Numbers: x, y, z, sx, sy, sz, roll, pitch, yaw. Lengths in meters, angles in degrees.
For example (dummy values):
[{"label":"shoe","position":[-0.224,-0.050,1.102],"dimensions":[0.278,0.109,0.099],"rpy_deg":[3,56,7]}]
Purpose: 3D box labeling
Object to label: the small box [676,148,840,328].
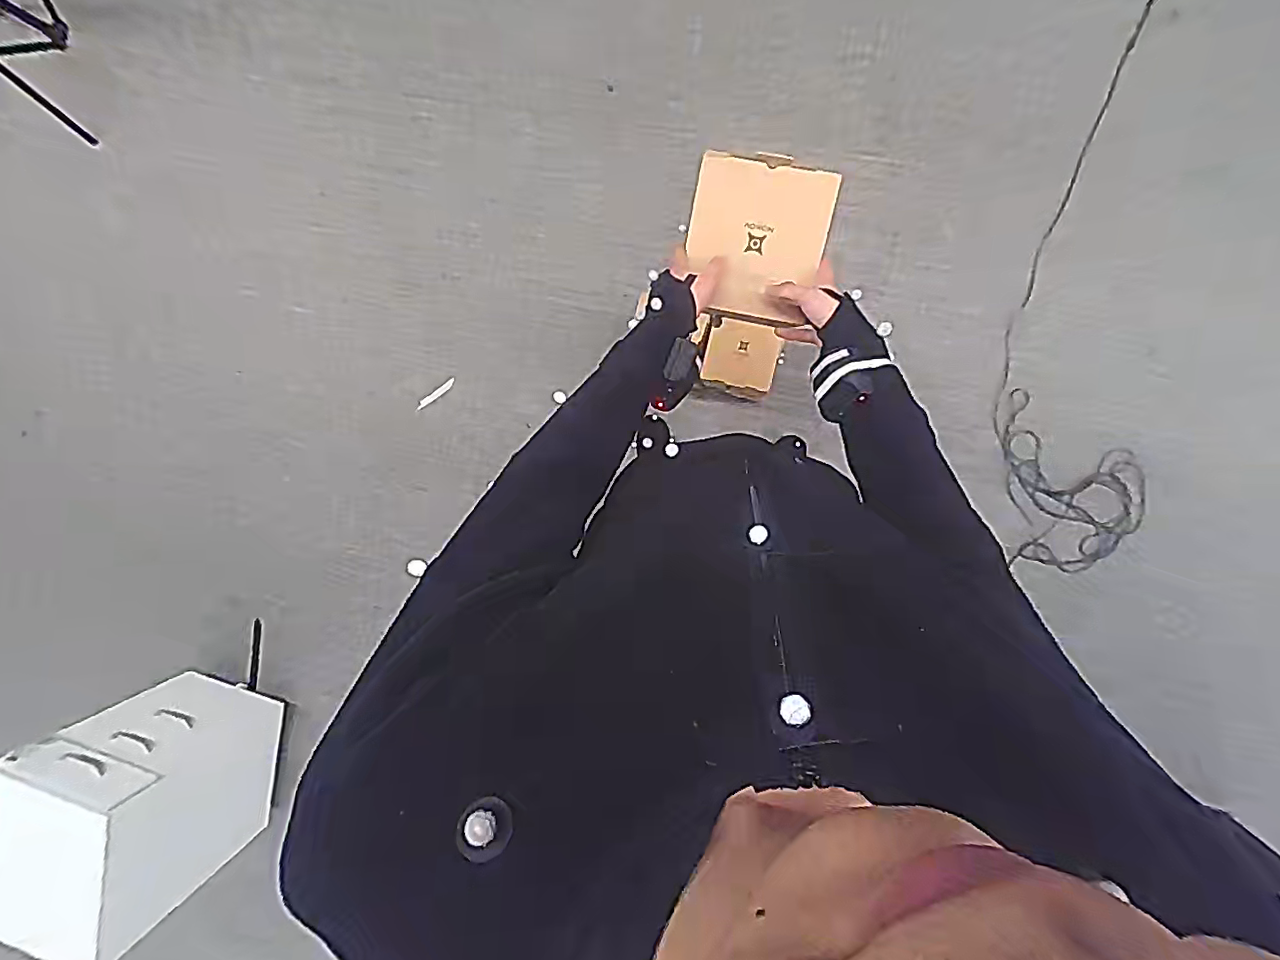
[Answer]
[{"label":"small box","position":[0.143,-0.309,0.726],"dimensions":[0.168,0.176,0.179],"rpy_deg":[11,105,1]}]
